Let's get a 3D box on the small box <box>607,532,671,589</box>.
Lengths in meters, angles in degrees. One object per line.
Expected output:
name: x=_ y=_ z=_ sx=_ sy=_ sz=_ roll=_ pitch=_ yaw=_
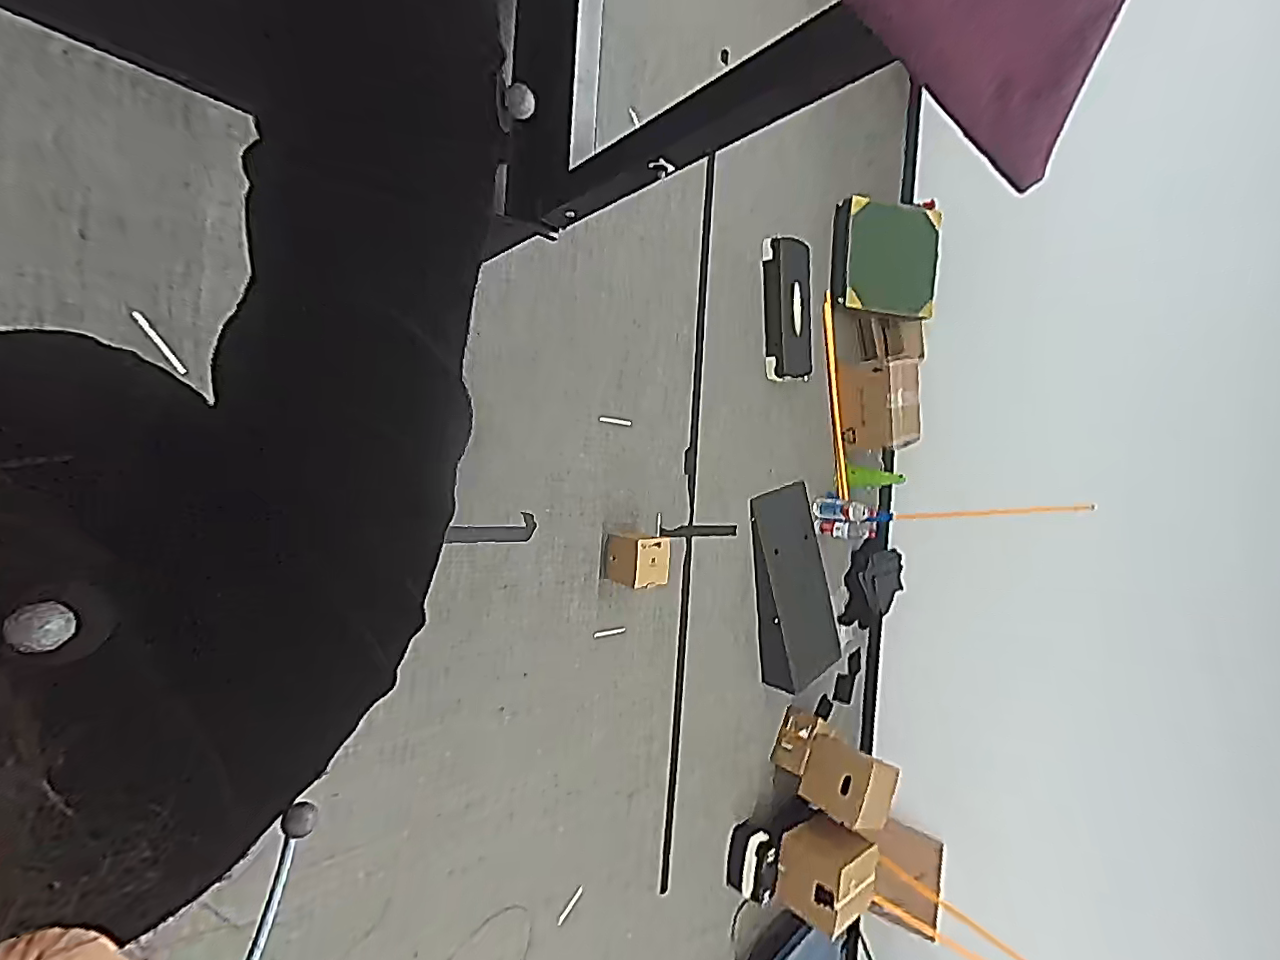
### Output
small box: x=-0.006 y=0.294 z=2.006 sx=0.168 sy=0.176 sz=0.179 roll=3 pitch=92 yaw=-43
